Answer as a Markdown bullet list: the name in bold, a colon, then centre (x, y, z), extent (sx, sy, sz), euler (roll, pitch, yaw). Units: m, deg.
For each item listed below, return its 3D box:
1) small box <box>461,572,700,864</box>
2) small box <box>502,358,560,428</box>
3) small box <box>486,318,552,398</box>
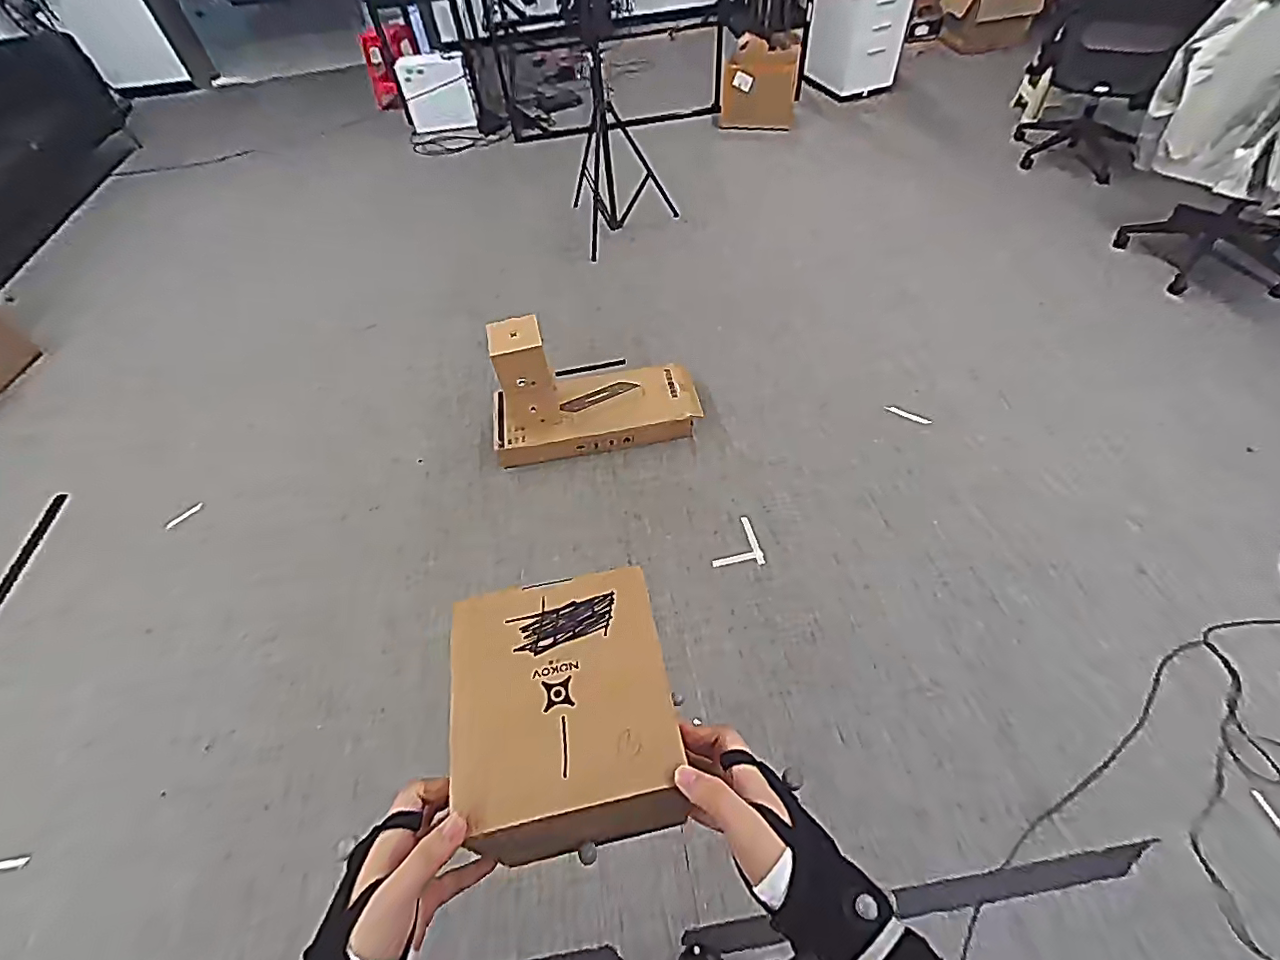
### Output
- **small box**: centre (-0.051, 0.210, 0.477), extent (0.168, 0.176, 0.179), euler (-11, 50, -5)
- **small box**: centre (-0.380, -0.297, 1.898), extent (0.168, 0.176, 0.179), euler (-9, 52, -2)
- **small box**: centre (-0.395, -0.397, 1.769), extent (0.168, 0.176, 0.179), euler (-15, 53, -6)
